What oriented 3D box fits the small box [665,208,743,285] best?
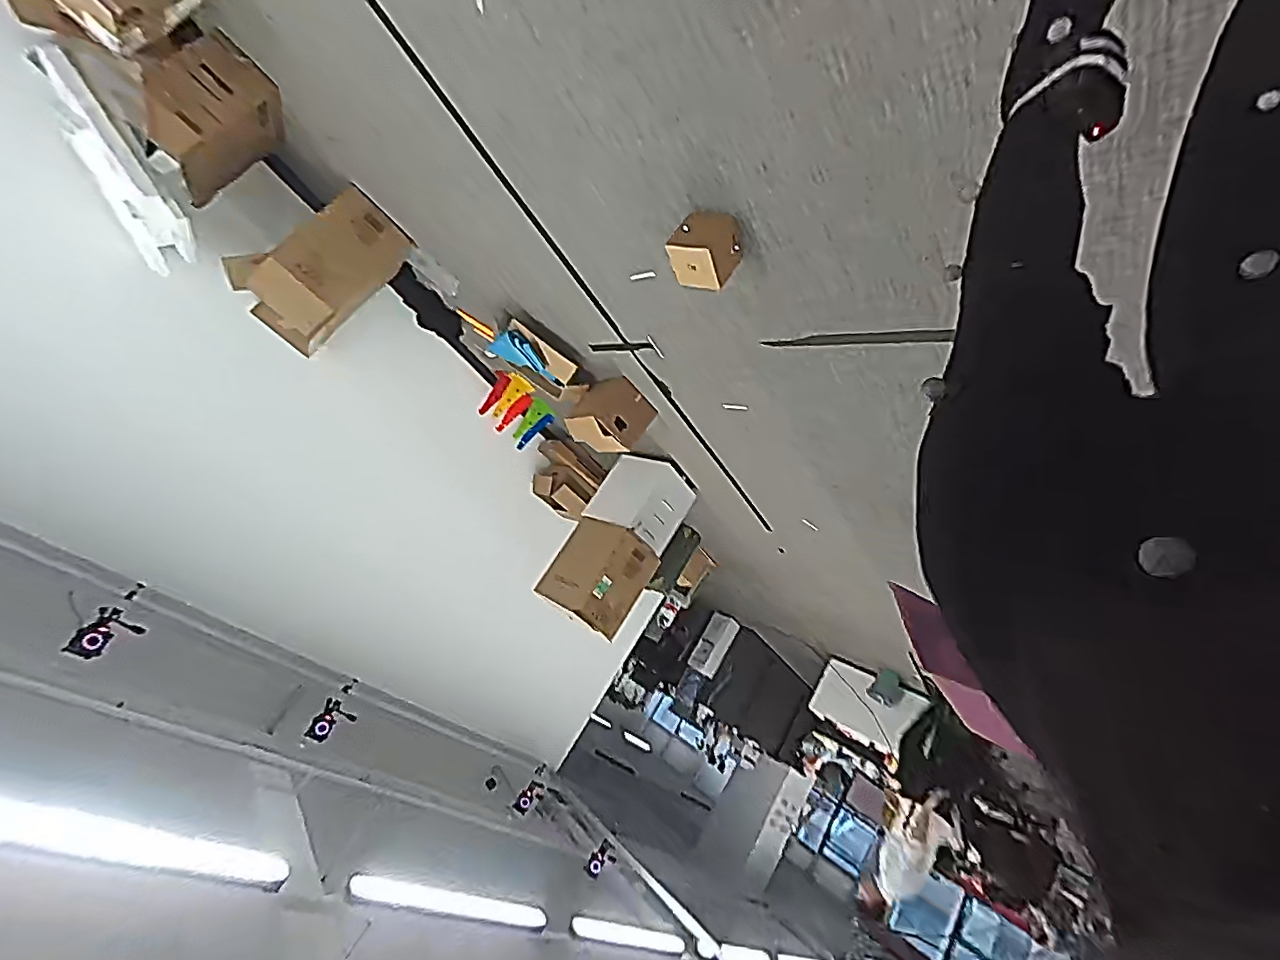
[{"bbox_3d":[0.216,-0.782,1.803,0.179,0.176,0.168,21,159,34],"label":"small box"}]
